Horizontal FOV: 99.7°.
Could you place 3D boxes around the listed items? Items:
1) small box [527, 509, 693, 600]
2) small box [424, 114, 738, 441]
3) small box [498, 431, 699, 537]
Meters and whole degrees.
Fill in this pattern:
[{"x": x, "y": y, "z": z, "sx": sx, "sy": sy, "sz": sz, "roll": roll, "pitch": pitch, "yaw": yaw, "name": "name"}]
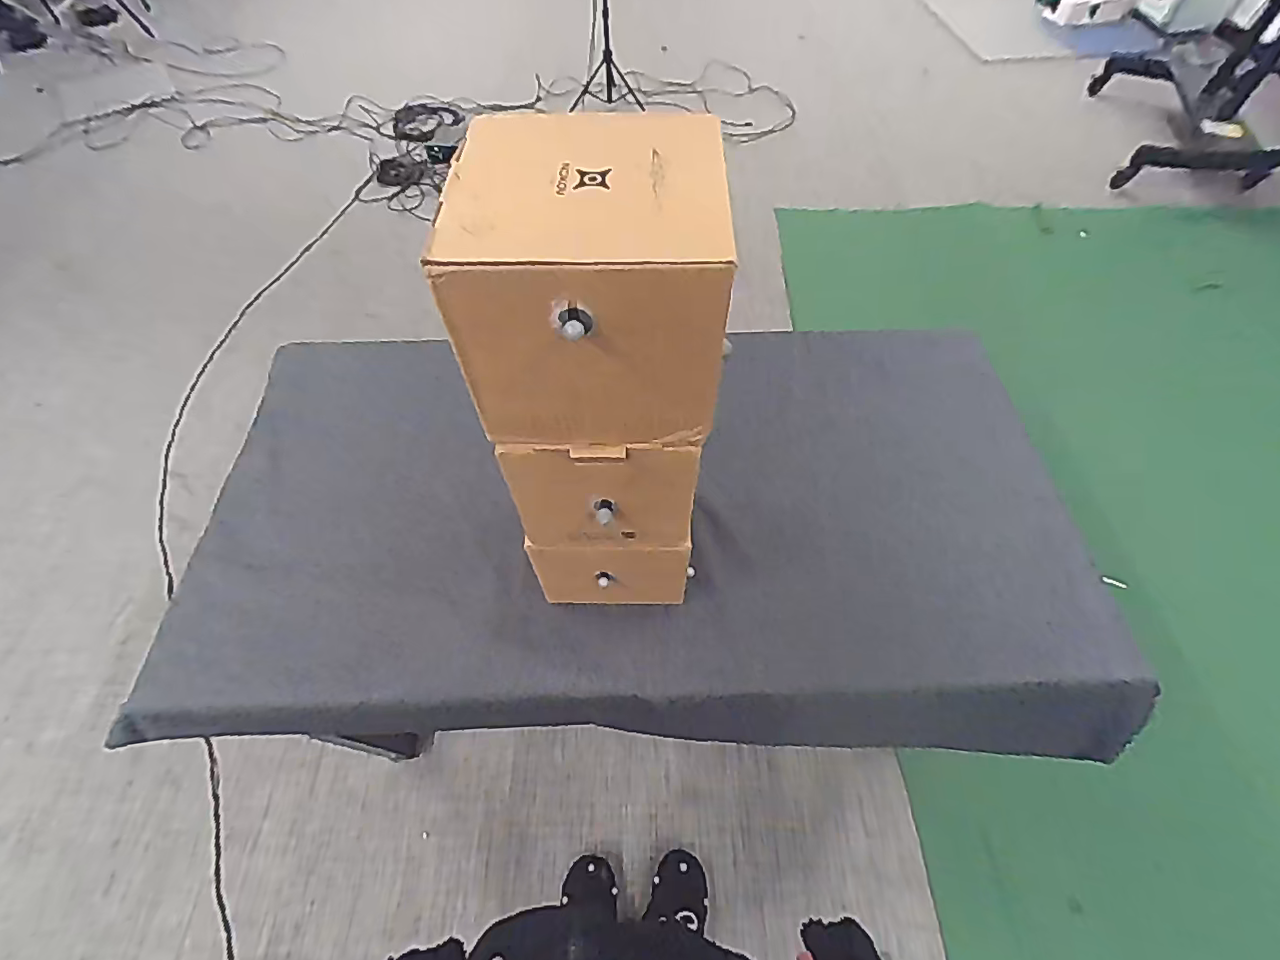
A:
[{"x": -0.029, "y": 0.043, "z": 0.672, "sx": 0.179, "sy": 0.176, "sz": 0.168, "roll": 0, "pitch": 57, "yaw": 2, "name": "small box"}, {"x": -0.030, "y": -0.141, "z": 0.403, "sx": 0.179, "sy": 0.176, "sz": 0.168, "roll": 0, "pitch": 58, "yaw": 0, "name": "small box"}, {"x": -0.031, "y": -0.052, "z": 0.539, "sx": 0.168, "sy": 0.176, "sz": 0.179, "roll": -1, "pitch": 58, "yaw": 0, "name": "small box"}]
